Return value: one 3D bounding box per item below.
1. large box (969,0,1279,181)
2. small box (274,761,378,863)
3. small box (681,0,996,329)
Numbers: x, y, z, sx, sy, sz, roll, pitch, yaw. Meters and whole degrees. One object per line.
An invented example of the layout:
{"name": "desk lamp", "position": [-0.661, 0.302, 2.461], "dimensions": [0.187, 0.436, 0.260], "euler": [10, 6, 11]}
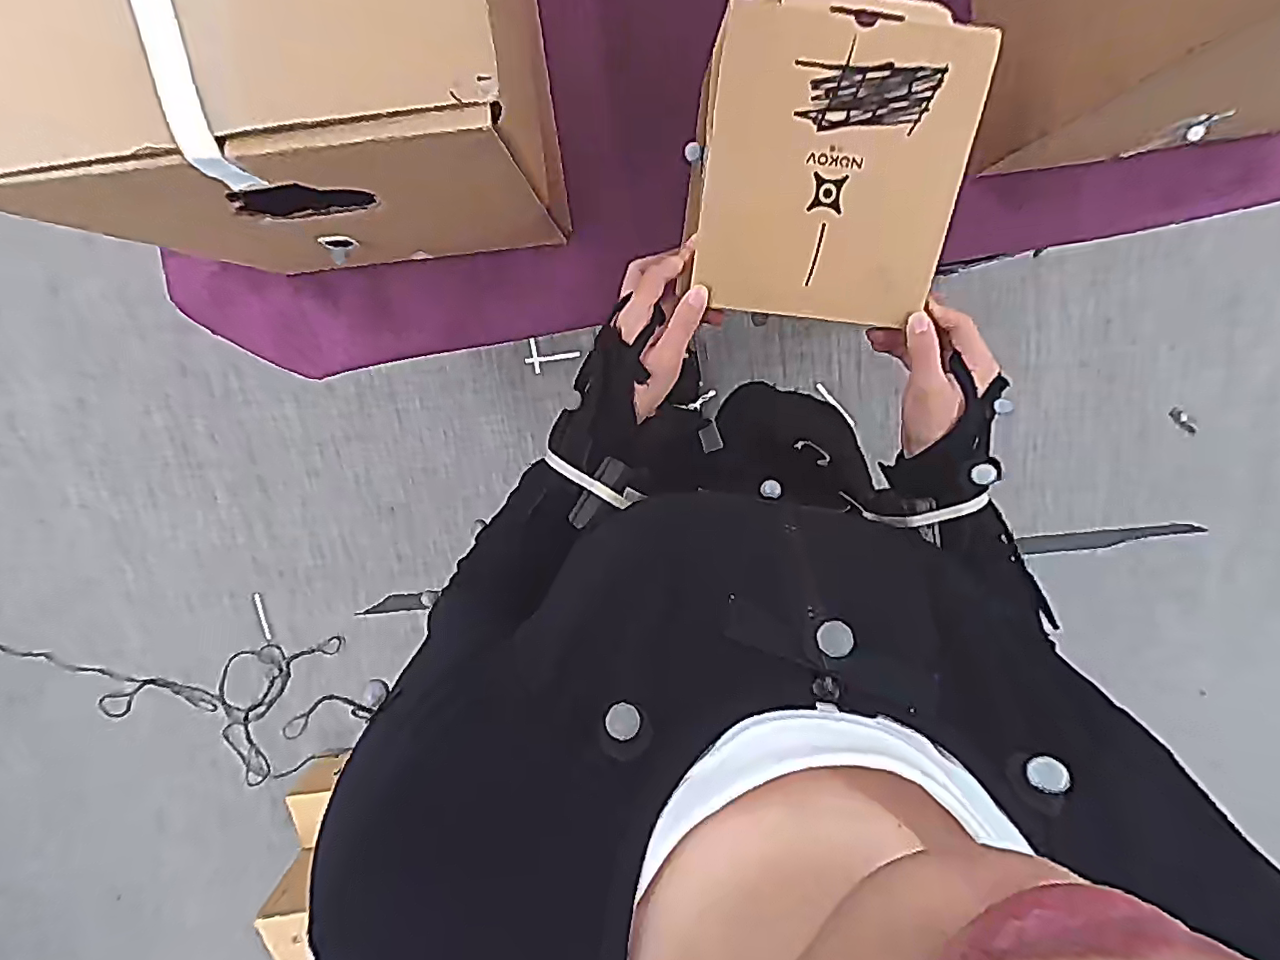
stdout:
{"name": "large box", "position": [0.446, -0.479, 0.350], "dimensions": [0.320, 0.320, 0.408], "euler": [-7, 101, 3]}
{"name": "small box", "position": [-0.840, 0.895, 1.459], "dimensions": [0.179, 0.176, 0.168], "euler": [17, 89, -13]}
{"name": "small box", "position": [0.125, -0.225, 0.424], "dimensions": [0.168, 0.176, 0.179], "euler": [6, 112, -1]}
